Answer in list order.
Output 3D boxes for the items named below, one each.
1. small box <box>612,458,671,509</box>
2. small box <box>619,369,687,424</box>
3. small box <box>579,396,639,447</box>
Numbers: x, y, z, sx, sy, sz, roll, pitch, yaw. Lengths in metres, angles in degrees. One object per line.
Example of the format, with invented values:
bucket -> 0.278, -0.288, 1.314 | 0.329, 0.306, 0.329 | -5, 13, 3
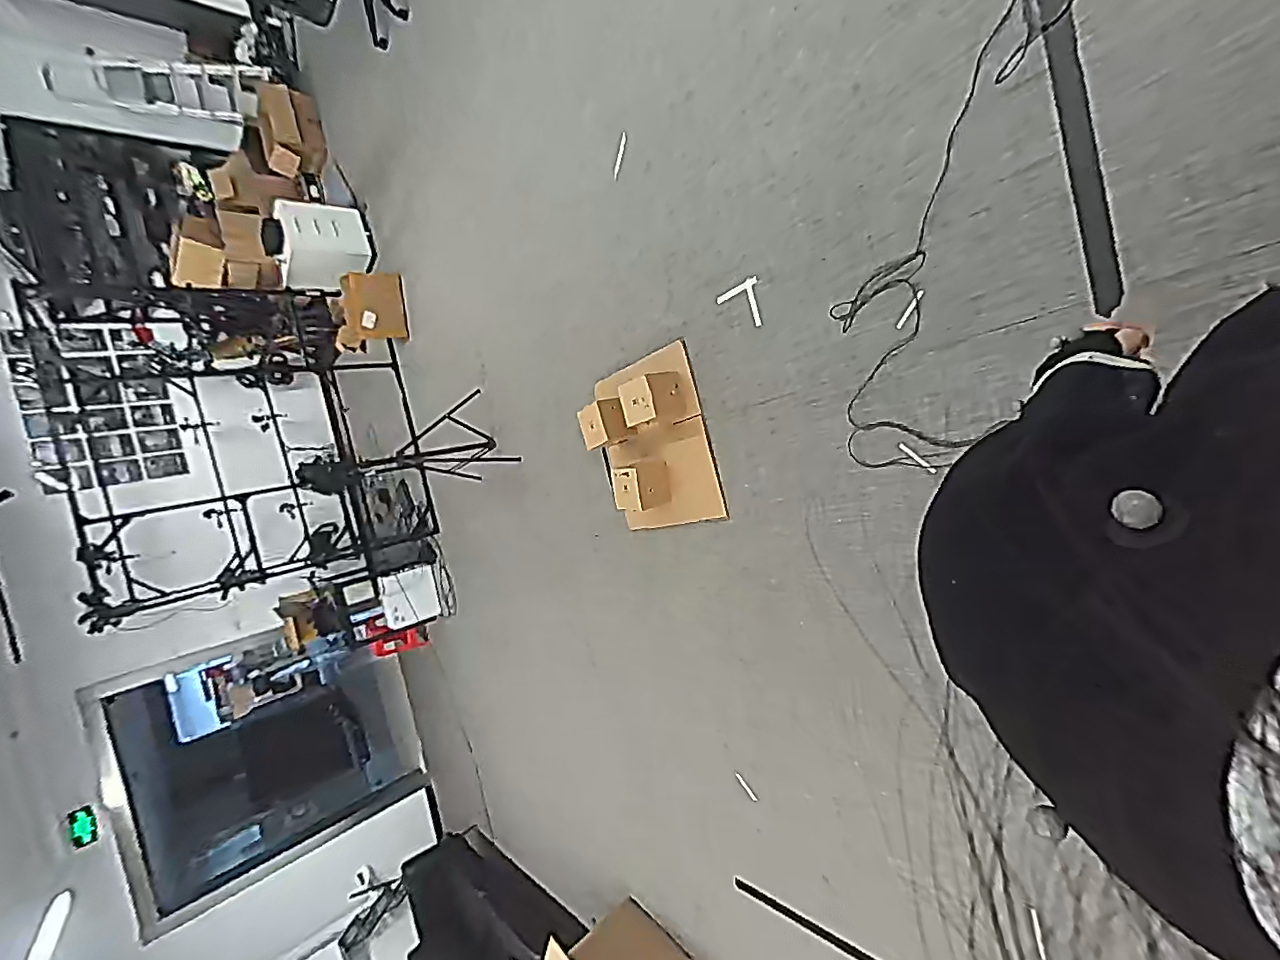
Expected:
small box -> 0.011, 0.010, 2.235 | 0.168, 0.176, 0.179 | 1, 103, 49
small box -> 0.051, -0.323, 2.087 | 0.179, 0.176, 0.168 | -12, 93, 49
small box -> -0.133, -0.256, 2.325 | 0.168, 0.176, 0.179 | -21, 85, 51
